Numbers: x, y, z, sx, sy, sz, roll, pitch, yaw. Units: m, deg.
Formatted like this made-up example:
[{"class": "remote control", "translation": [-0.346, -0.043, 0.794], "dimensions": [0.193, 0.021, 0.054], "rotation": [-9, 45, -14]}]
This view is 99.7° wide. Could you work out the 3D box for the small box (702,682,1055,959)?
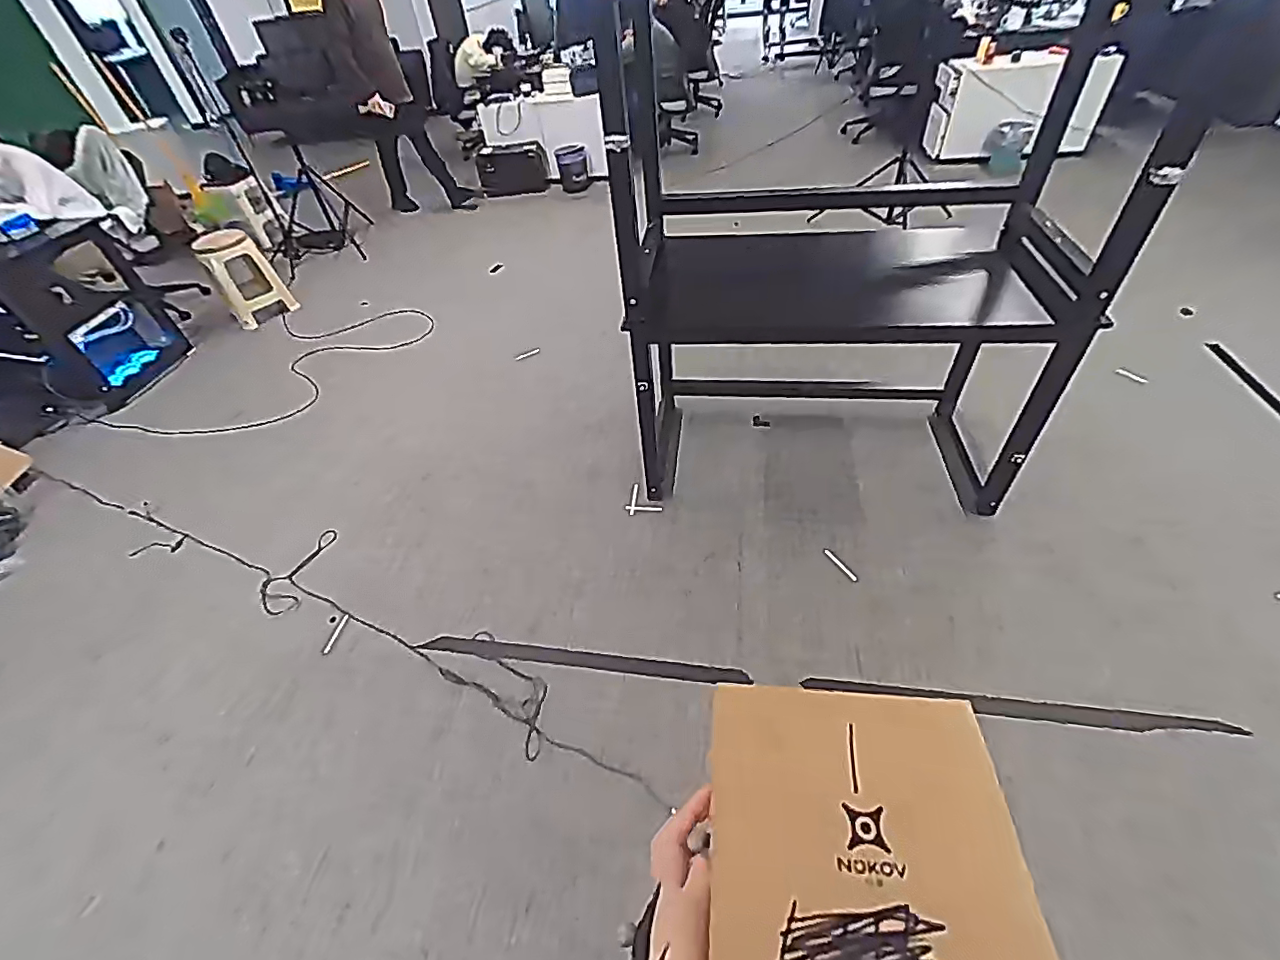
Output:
[{"class": "small box", "translation": [0.128, 0.258, 0.354], "dimensions": [0.168, 0.176, 0.179], "rotation": [3, 44, 6]}]
